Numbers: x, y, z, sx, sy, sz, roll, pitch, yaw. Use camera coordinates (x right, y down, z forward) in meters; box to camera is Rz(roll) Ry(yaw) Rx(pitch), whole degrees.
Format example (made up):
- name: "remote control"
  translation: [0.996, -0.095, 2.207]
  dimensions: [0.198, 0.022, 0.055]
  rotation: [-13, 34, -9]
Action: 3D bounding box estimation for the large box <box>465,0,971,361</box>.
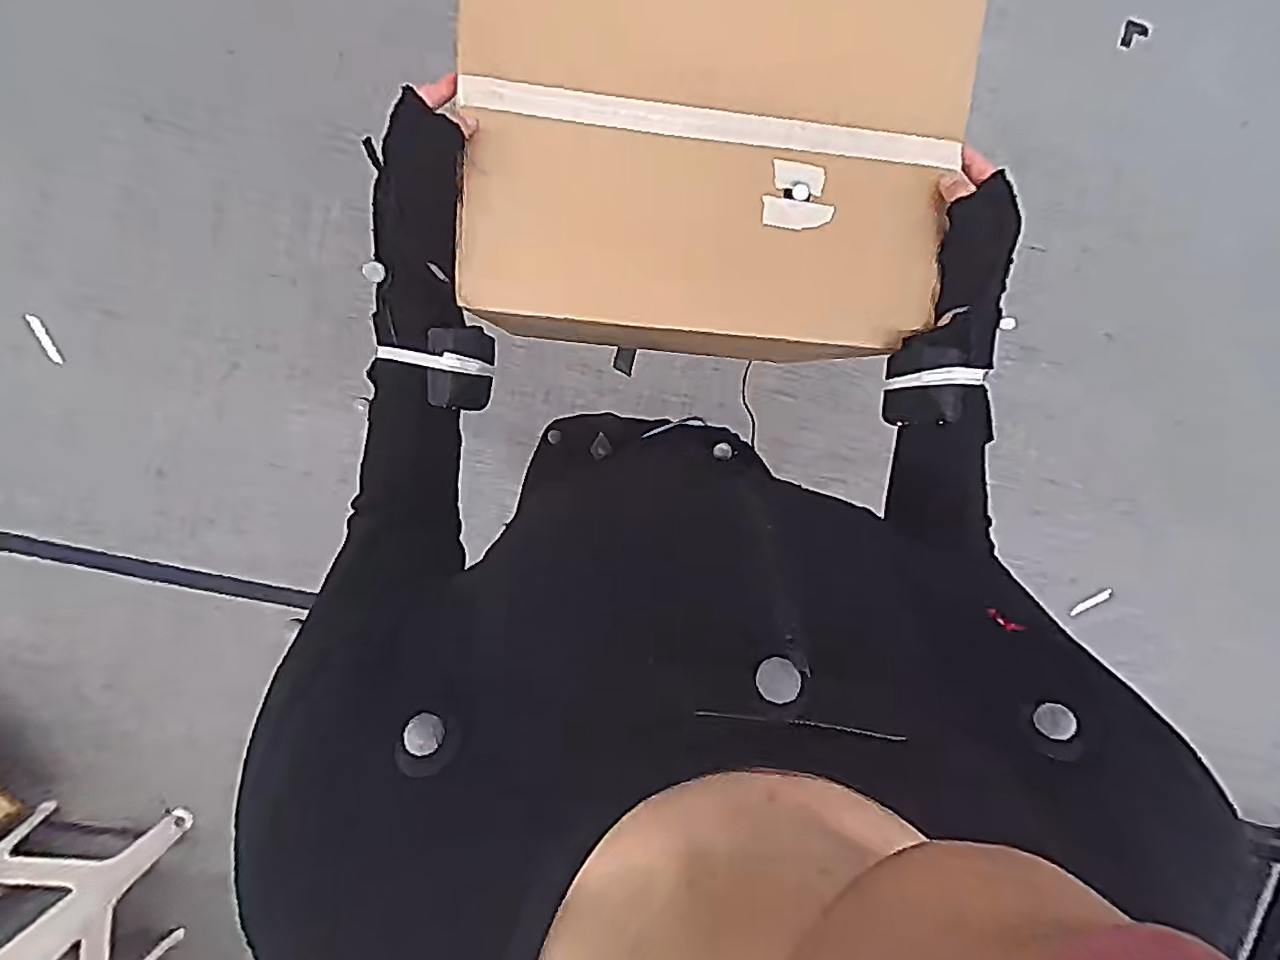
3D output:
- name: "large box"
  translation: [0.046, -0.305, 0.585]
  dimensions: [0.408, 0.320, 0.320]
  rotation: [4, 101, -7]
